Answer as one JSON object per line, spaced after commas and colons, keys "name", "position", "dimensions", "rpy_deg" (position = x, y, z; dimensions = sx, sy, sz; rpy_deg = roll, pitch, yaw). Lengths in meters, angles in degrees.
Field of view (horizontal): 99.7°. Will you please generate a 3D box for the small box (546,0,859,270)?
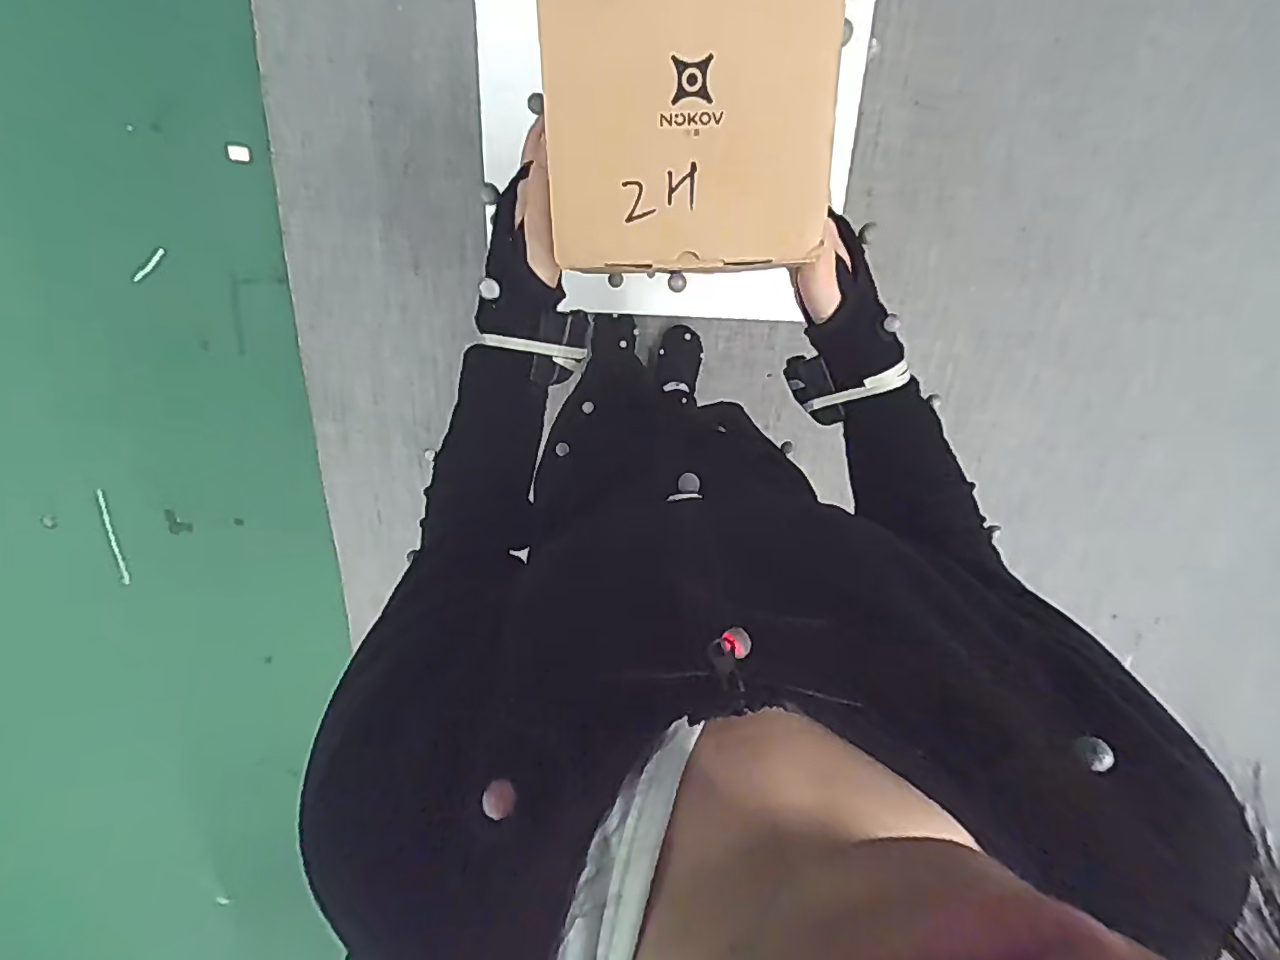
{"name": "small box", "position": [0.032, -0.241, 0.366], "dimensions": [0.168, 0.176, 0.179], "rpy_deg": [-1, 109, 1]}
